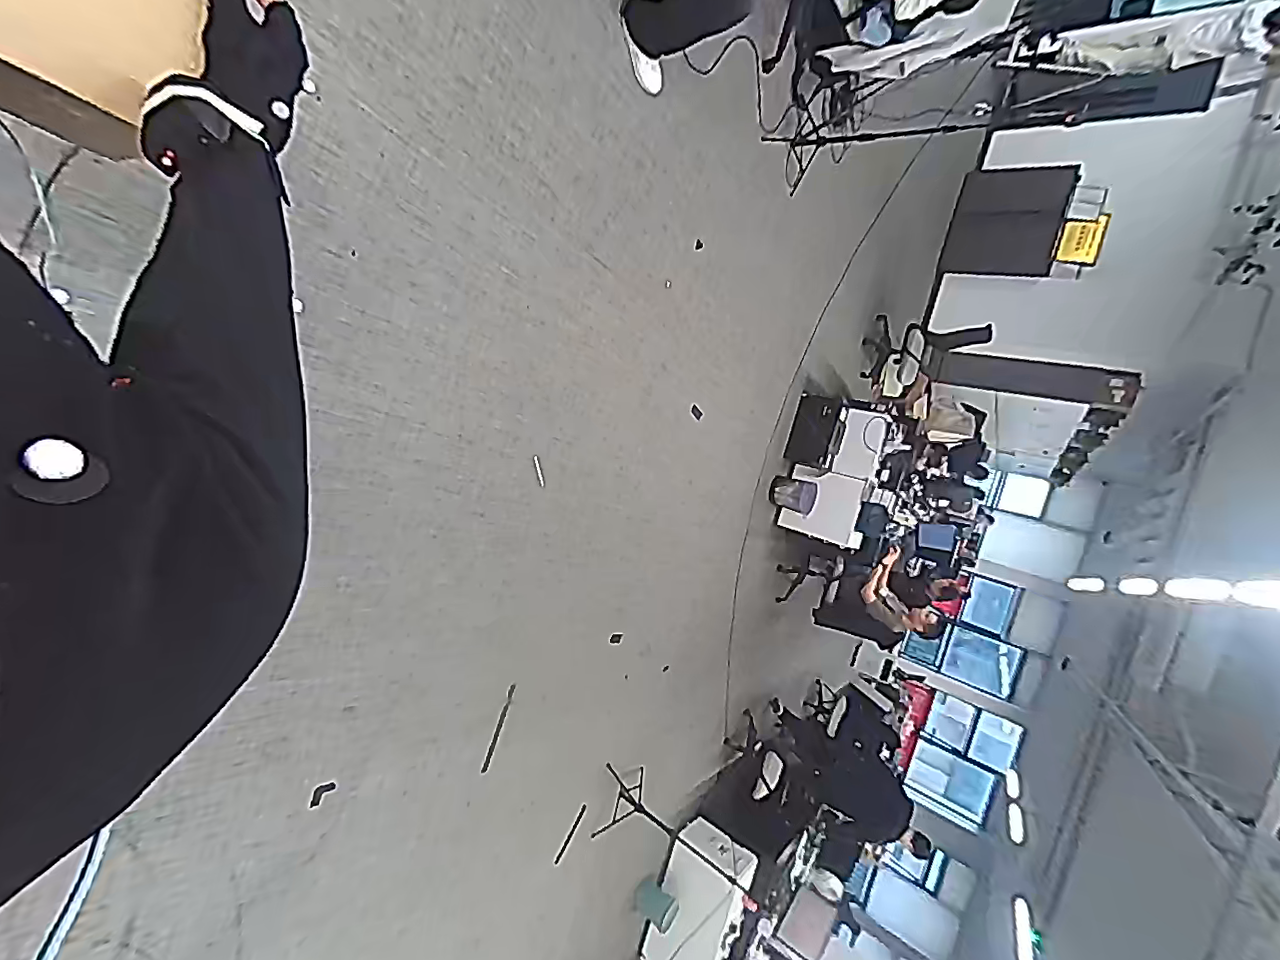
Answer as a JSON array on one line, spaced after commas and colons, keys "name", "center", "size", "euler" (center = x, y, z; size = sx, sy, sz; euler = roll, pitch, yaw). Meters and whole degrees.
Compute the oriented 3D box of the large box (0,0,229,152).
[{"name": "large box", "center": [-0.580, -0.511, 0.393], "size": [0.408, 0.320, 0.320], "euler": [14, 98, -56]}]
